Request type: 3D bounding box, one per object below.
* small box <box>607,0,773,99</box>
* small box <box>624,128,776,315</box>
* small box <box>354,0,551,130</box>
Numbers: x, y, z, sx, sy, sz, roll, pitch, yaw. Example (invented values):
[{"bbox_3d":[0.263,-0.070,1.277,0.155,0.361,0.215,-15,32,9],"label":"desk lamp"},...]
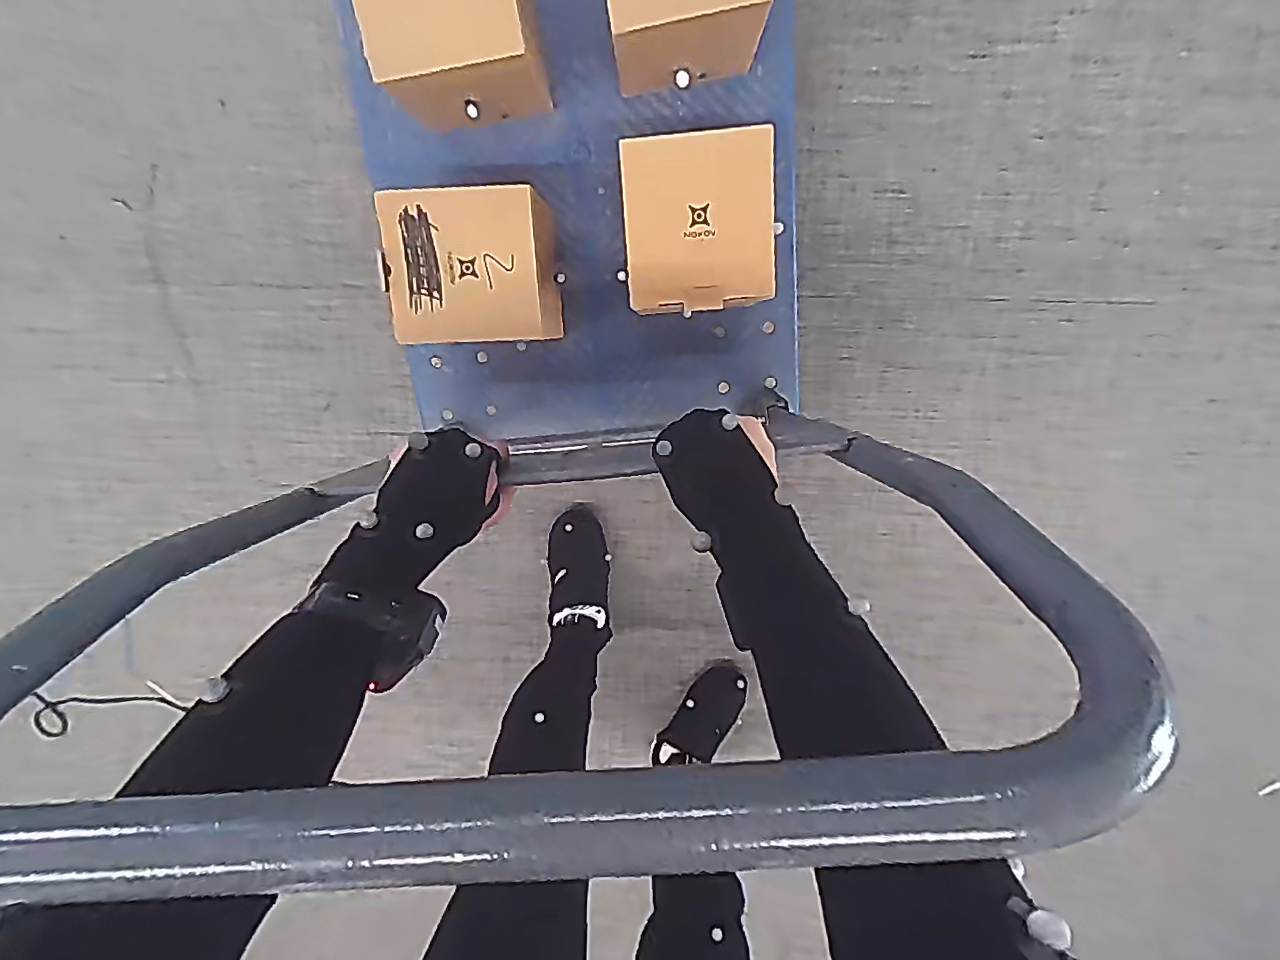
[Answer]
[{"bbox_3d":[0.043,-0.562,0.595,0.168,0.176,0.179,-8,107,5],"label":"small box"},{"bbox_3d":[0.069,-0.303,0.670,0.168,0.176,0.179,-4,106,3],"label":"small box"},{"bbox_3d":[-0.207,-0.524,0.613,0.168,0.176,0.179,-8,106,3],"label":"small box"}]
